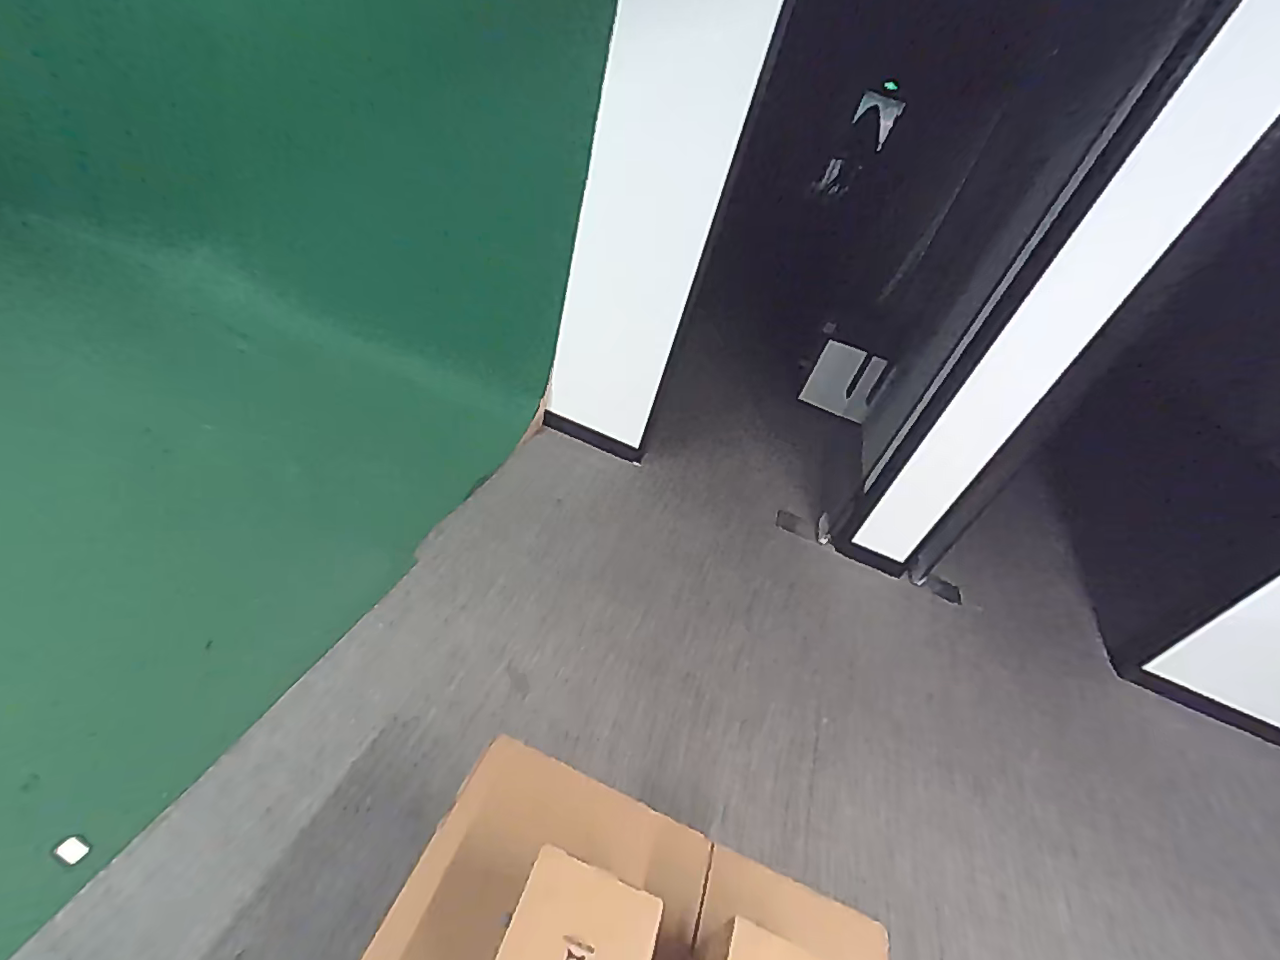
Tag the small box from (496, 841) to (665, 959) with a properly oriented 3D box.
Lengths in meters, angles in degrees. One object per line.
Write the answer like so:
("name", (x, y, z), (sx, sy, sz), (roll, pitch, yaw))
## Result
("small box", (-0.088, 0.587, 0.645), (0.168, 0.176, 0.179), (21, 36, 7))
